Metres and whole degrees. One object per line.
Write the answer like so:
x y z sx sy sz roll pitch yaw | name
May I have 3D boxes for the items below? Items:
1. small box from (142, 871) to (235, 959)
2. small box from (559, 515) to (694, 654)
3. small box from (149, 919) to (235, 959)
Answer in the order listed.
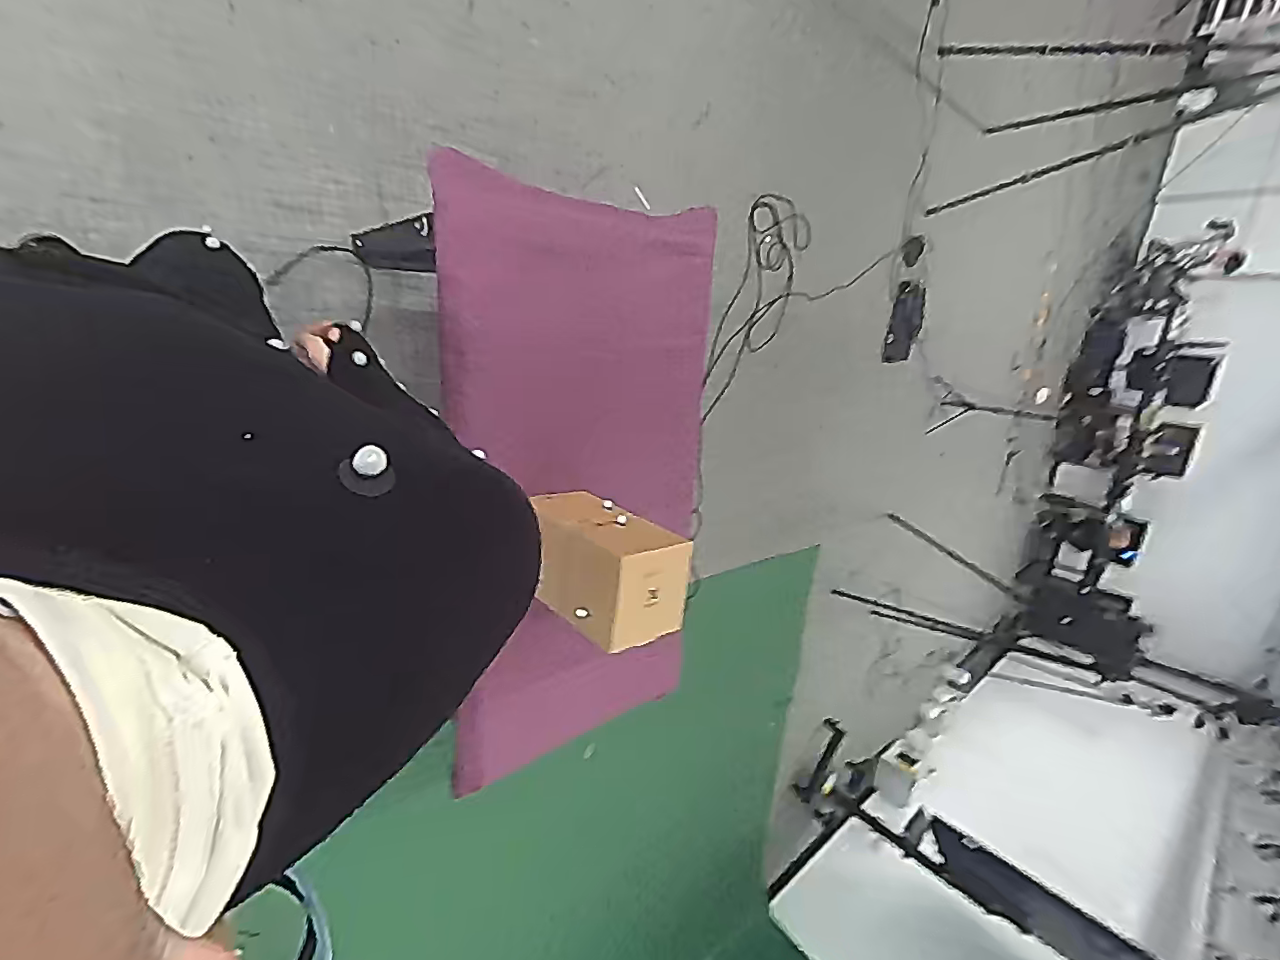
-1.233 1.237 1.481 0.179 0.176 0.168 -9 111 -40 | small box
-0.030 0.176 0.966 0.168 0.176 0.179 -5 108 -42 | small box
-1.133 1.281 1.361 0.179 0.176 0.168 -13 113 -39 | small box
